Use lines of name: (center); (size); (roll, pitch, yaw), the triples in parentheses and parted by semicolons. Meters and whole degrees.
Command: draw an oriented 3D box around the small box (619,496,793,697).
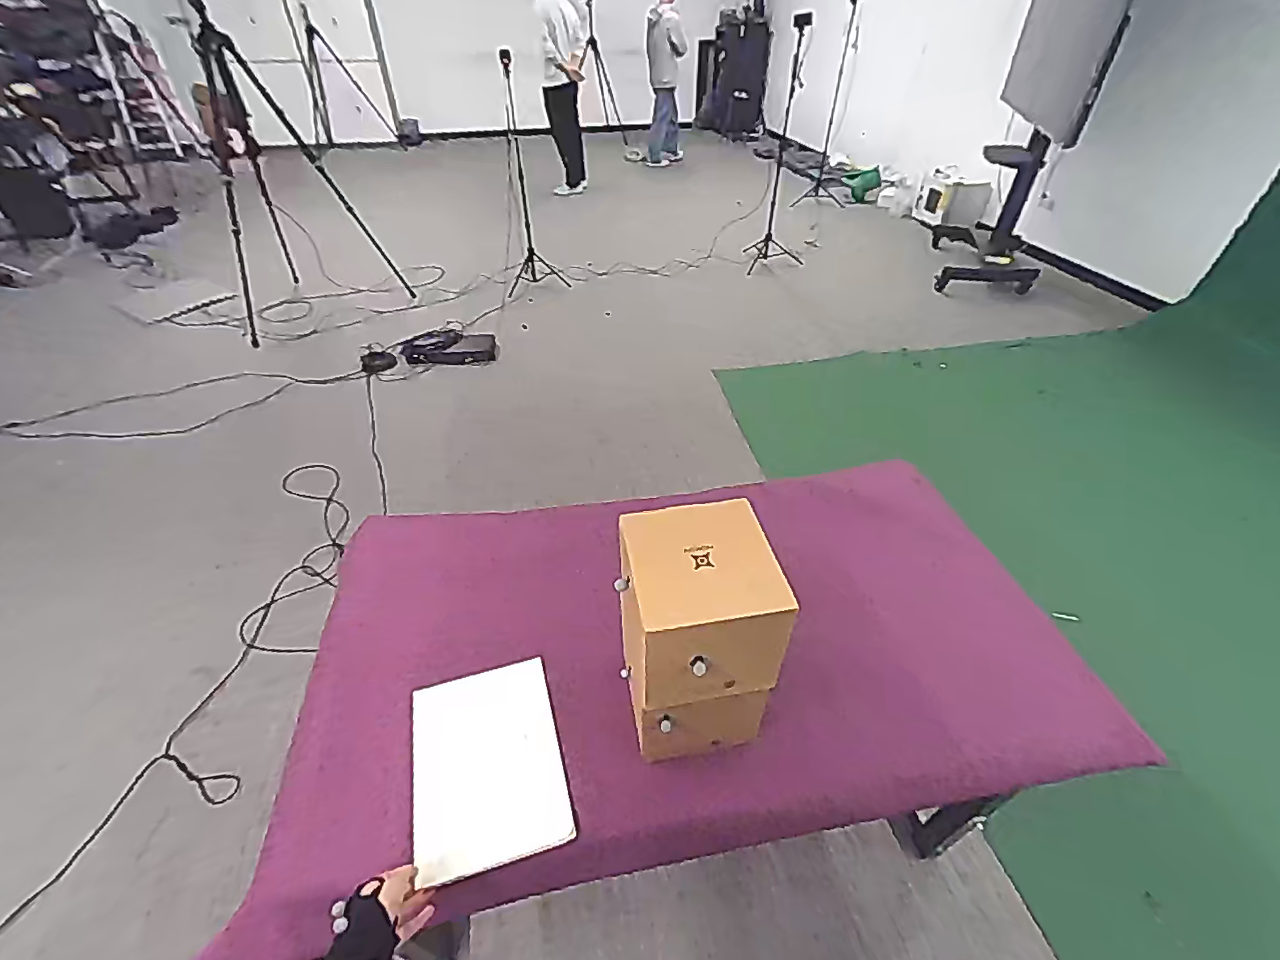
small box: (0.070, 0.146, 0.667); (0.168, 0.176, 0.179); (-7, 40, -8)
